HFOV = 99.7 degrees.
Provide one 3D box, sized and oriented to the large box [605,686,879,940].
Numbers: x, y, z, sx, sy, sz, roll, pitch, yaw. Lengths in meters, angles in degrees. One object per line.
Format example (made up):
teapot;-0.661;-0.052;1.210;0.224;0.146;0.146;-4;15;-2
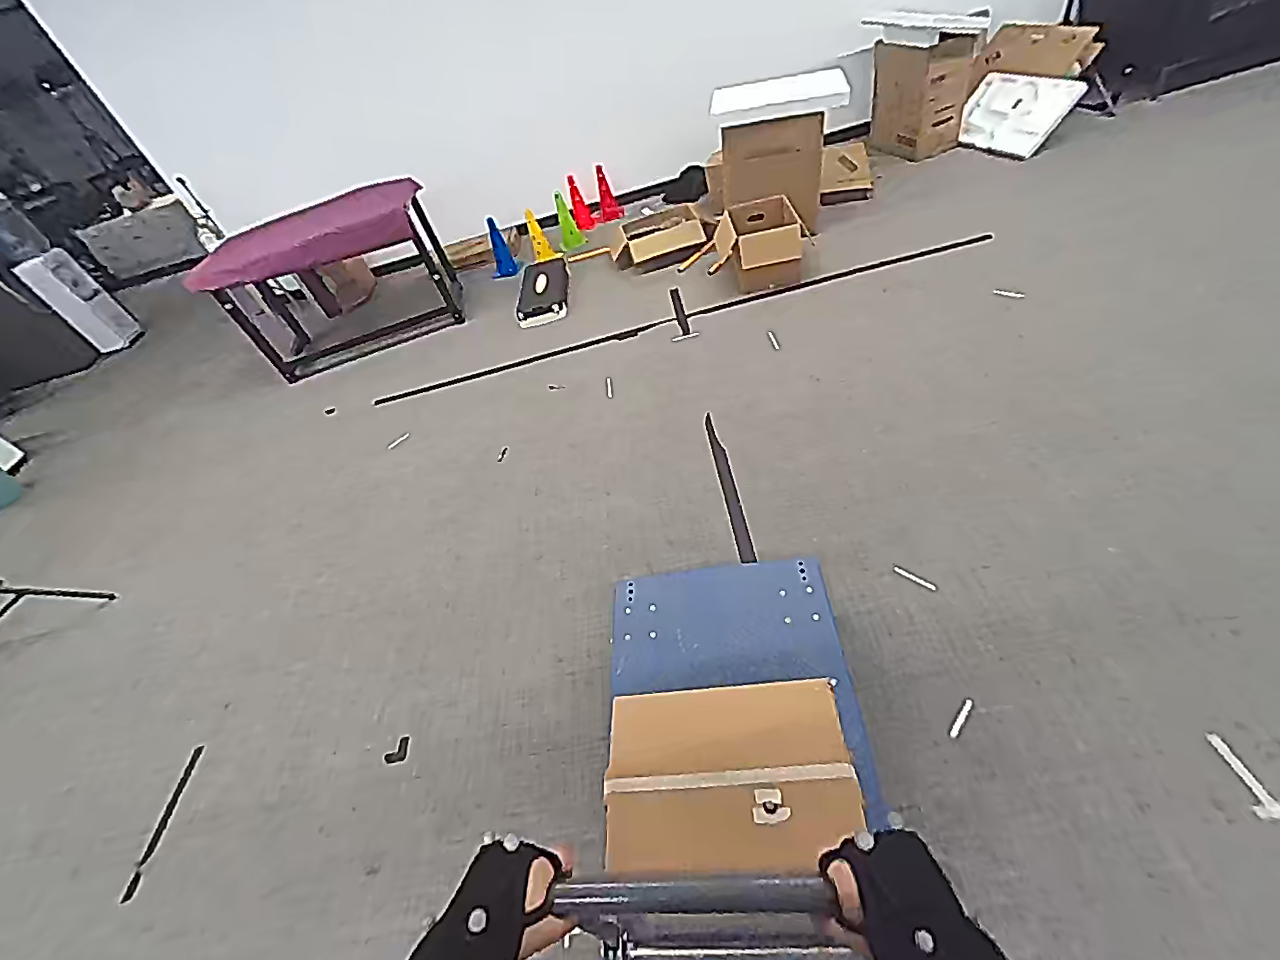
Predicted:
large box;0.170;0.609;0.981;0.408;0.320;0.320;-9;44;9
